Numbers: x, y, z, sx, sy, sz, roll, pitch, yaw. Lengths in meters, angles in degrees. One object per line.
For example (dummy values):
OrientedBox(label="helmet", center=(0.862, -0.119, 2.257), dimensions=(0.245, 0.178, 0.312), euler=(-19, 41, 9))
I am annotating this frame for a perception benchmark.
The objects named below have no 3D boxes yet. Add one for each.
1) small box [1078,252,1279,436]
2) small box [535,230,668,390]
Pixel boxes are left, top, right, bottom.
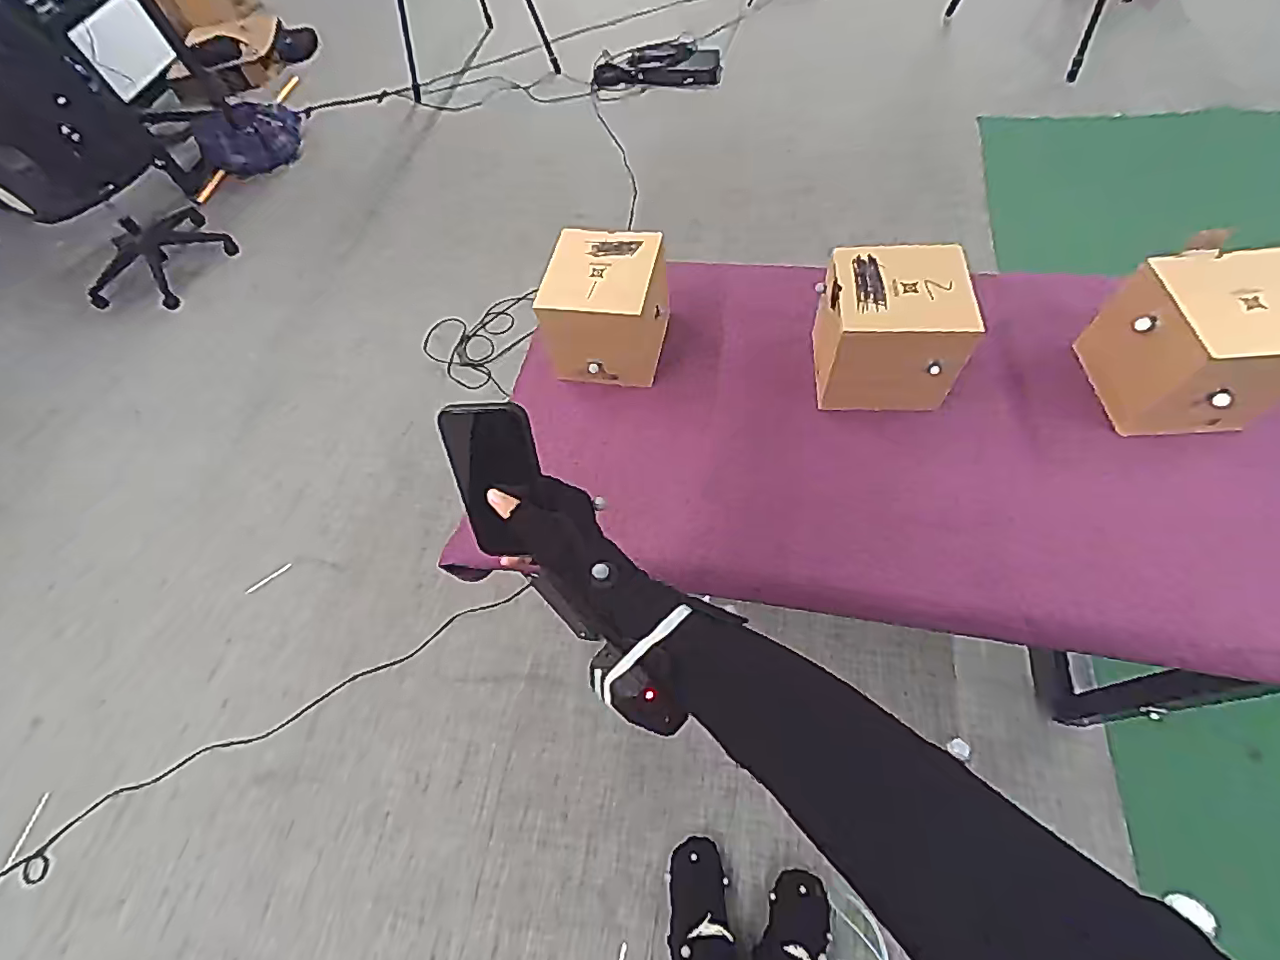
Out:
OrientedBox(label="small box", center=(0.742, -0.170, 0.720), dimensions=(0.168, 0.176, 0.179), euler=(-3, 59, 6))
OrientedBox(label="small box", center=(-0.050, -0.273, 0.876), dimensions=(0.168, 0.176, 0.179), euler=(8, 63, 11))
